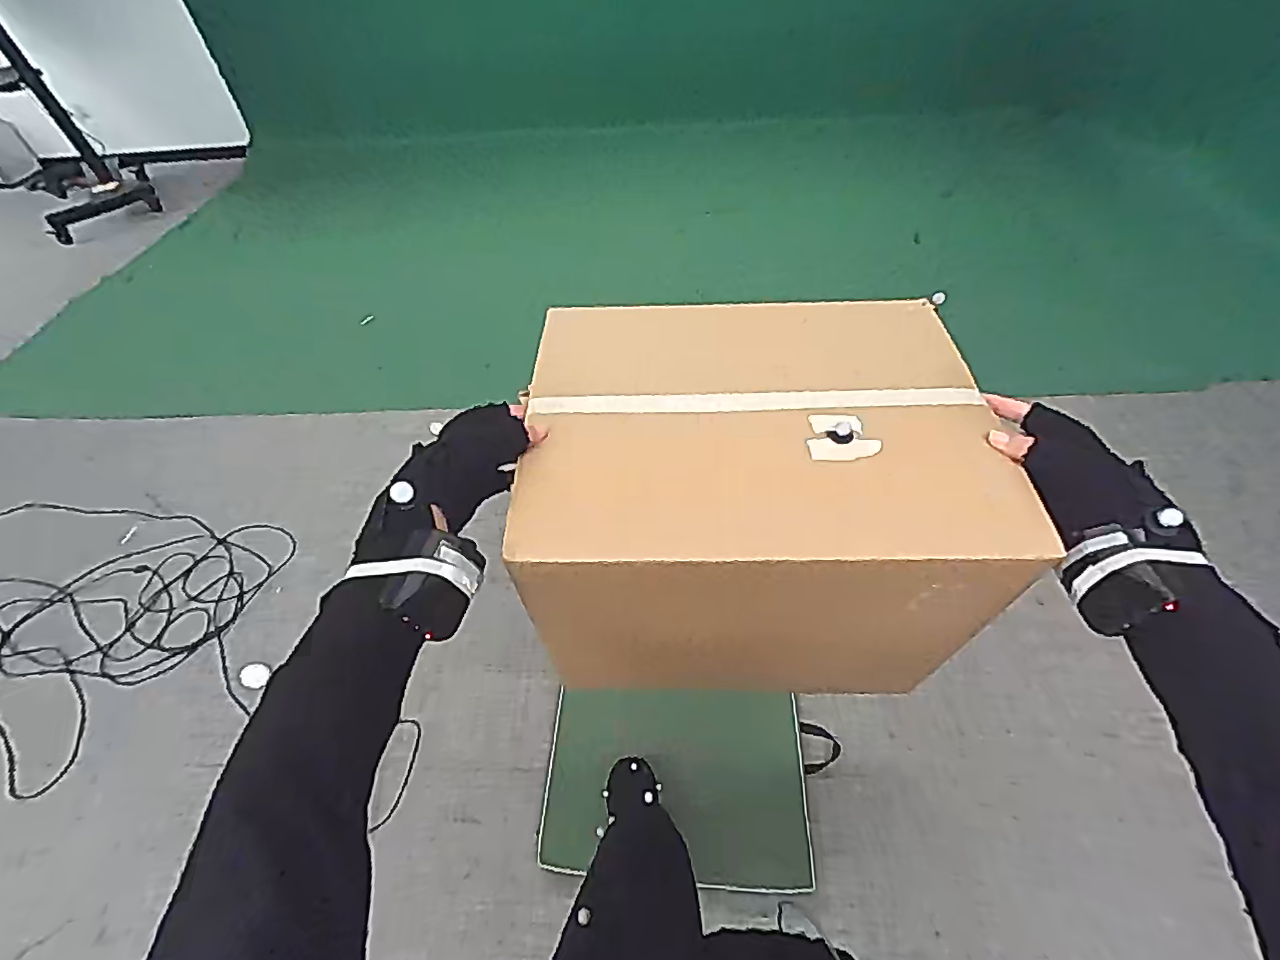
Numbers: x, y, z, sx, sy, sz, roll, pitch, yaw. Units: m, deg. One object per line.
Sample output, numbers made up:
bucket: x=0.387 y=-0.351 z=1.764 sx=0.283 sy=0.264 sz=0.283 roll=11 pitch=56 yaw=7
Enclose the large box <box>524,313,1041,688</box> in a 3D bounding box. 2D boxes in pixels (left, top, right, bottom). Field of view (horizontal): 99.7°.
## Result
large box: x=0.108 y=0.032 z=0.617 sx=0.408 sy=0.320 sz=0.320 roll=0 pitch=52 yaw=1
